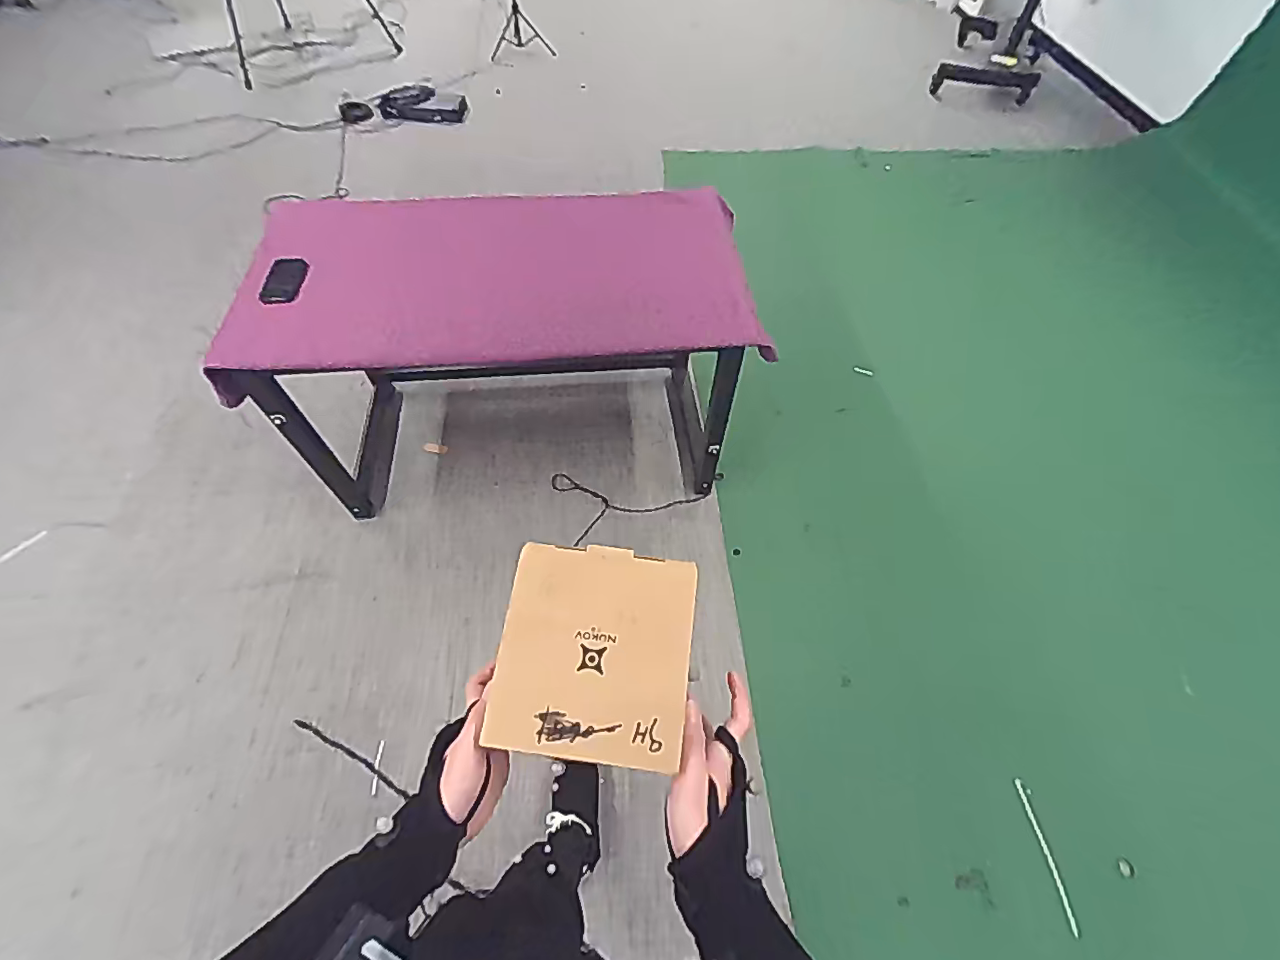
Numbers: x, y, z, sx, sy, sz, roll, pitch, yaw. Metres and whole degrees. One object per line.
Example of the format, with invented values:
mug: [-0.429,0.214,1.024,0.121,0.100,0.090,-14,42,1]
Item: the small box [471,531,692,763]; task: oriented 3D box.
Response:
small box: [-0.044,0.168,0.534,0.168,0.176,0.179,6,65,5]
